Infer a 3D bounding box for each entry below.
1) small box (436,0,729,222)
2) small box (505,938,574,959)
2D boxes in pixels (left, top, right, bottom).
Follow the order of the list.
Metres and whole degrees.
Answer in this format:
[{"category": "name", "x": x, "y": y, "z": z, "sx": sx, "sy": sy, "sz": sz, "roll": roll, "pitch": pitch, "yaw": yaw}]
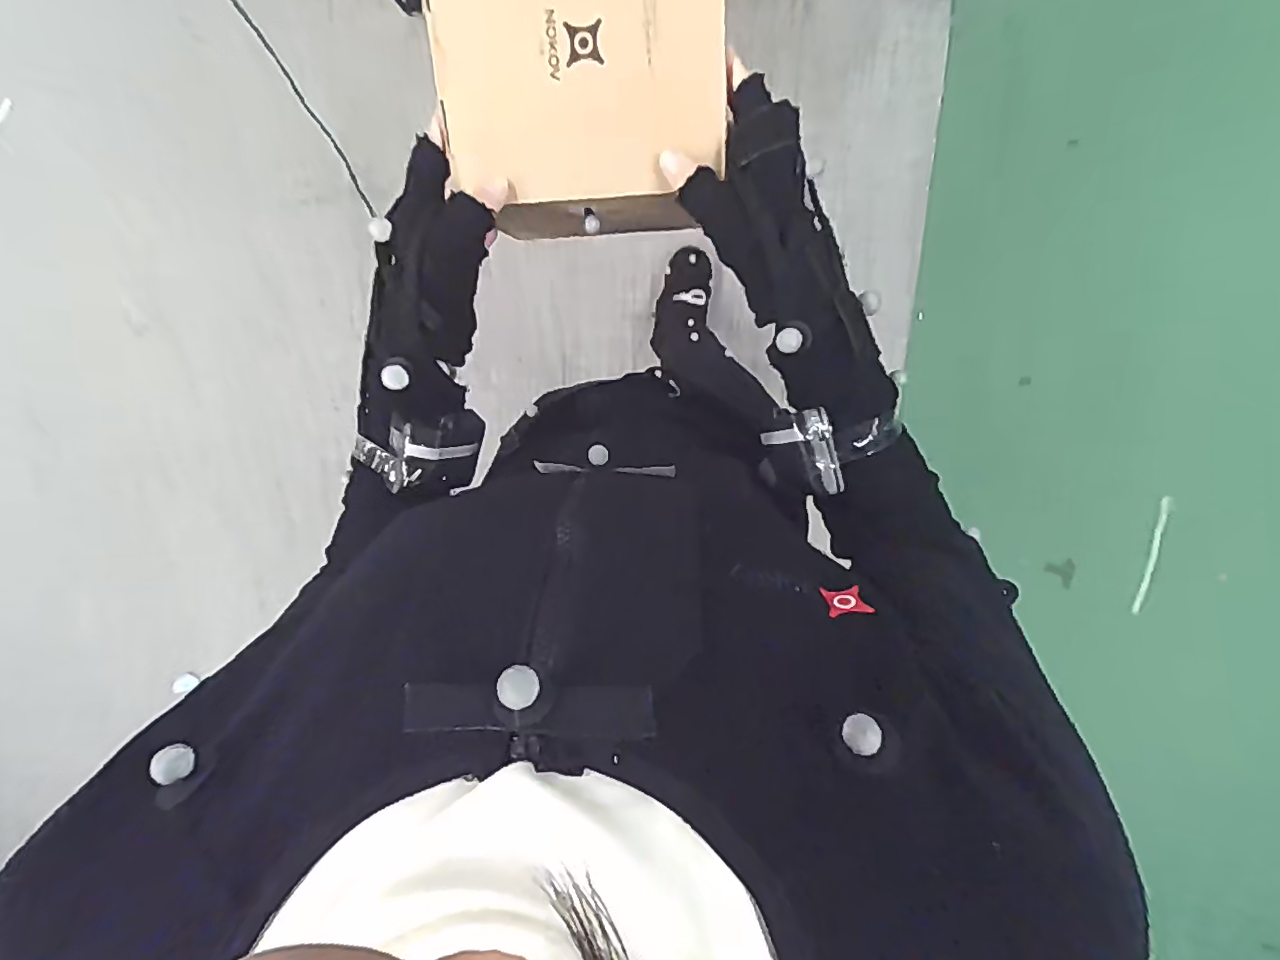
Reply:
[{"category": "small box", "x": -0.033, "y": -0.297, "z": 0.401, "sx": 0.179, "sy": 0.176, "sz": 0.168, "roll": -4, "pitch": 108, "yaw": 2}, {"category": "small box", "x": -0.271, "y": 1.331, "z": 1.396, "sx": 0.179, "sy": 0.176, "sz": 0.168, "roll": 0, "pitch": 104, "yaw": 4}]
